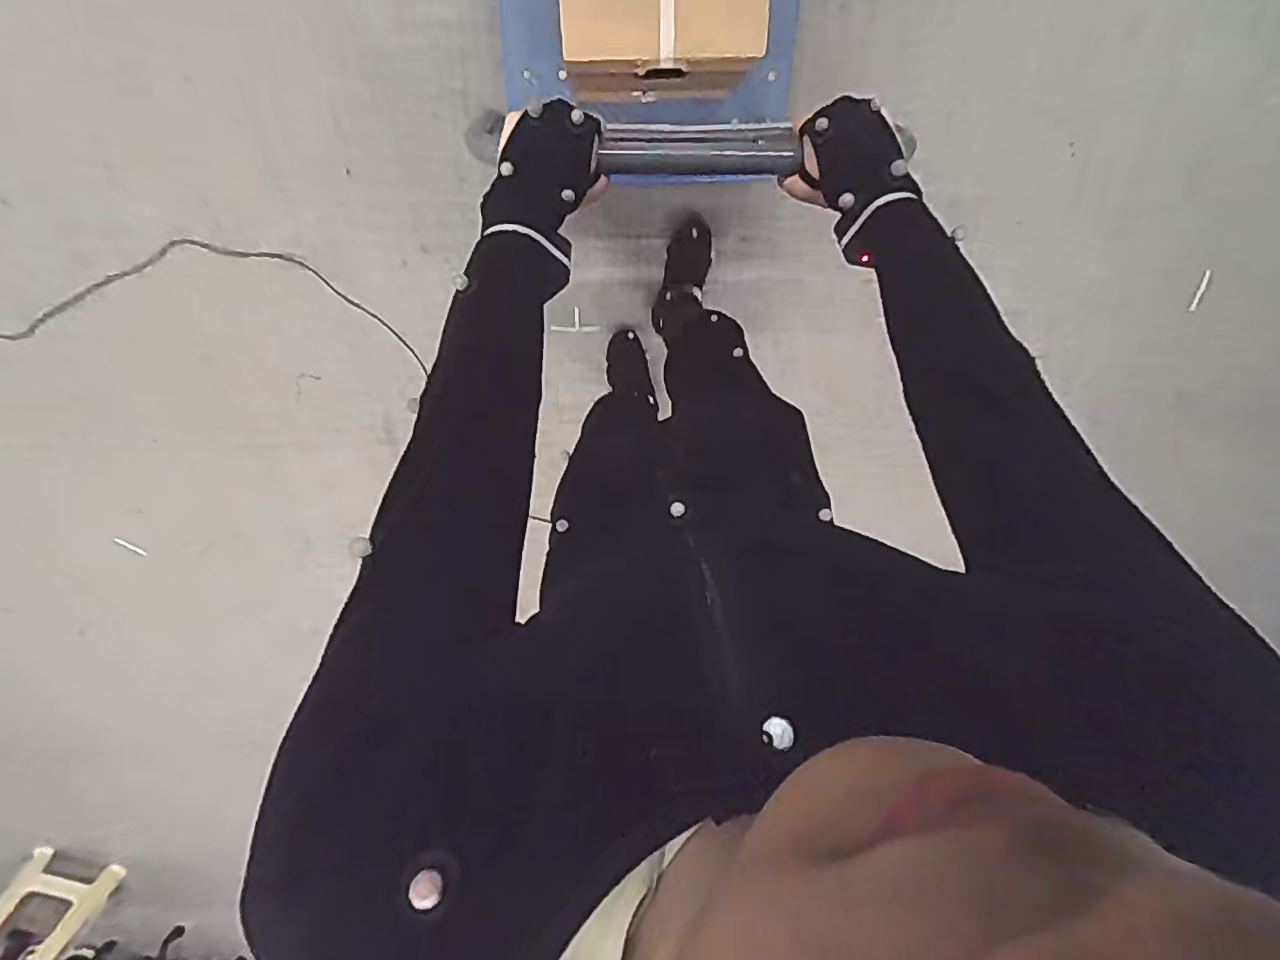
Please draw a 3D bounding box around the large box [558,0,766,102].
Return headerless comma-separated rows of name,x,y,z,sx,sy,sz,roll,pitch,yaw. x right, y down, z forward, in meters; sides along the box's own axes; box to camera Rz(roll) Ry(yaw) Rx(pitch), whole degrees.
large box,0.023,-0.892,0.881,0.320,0.320,0.408,-3,116,-2
